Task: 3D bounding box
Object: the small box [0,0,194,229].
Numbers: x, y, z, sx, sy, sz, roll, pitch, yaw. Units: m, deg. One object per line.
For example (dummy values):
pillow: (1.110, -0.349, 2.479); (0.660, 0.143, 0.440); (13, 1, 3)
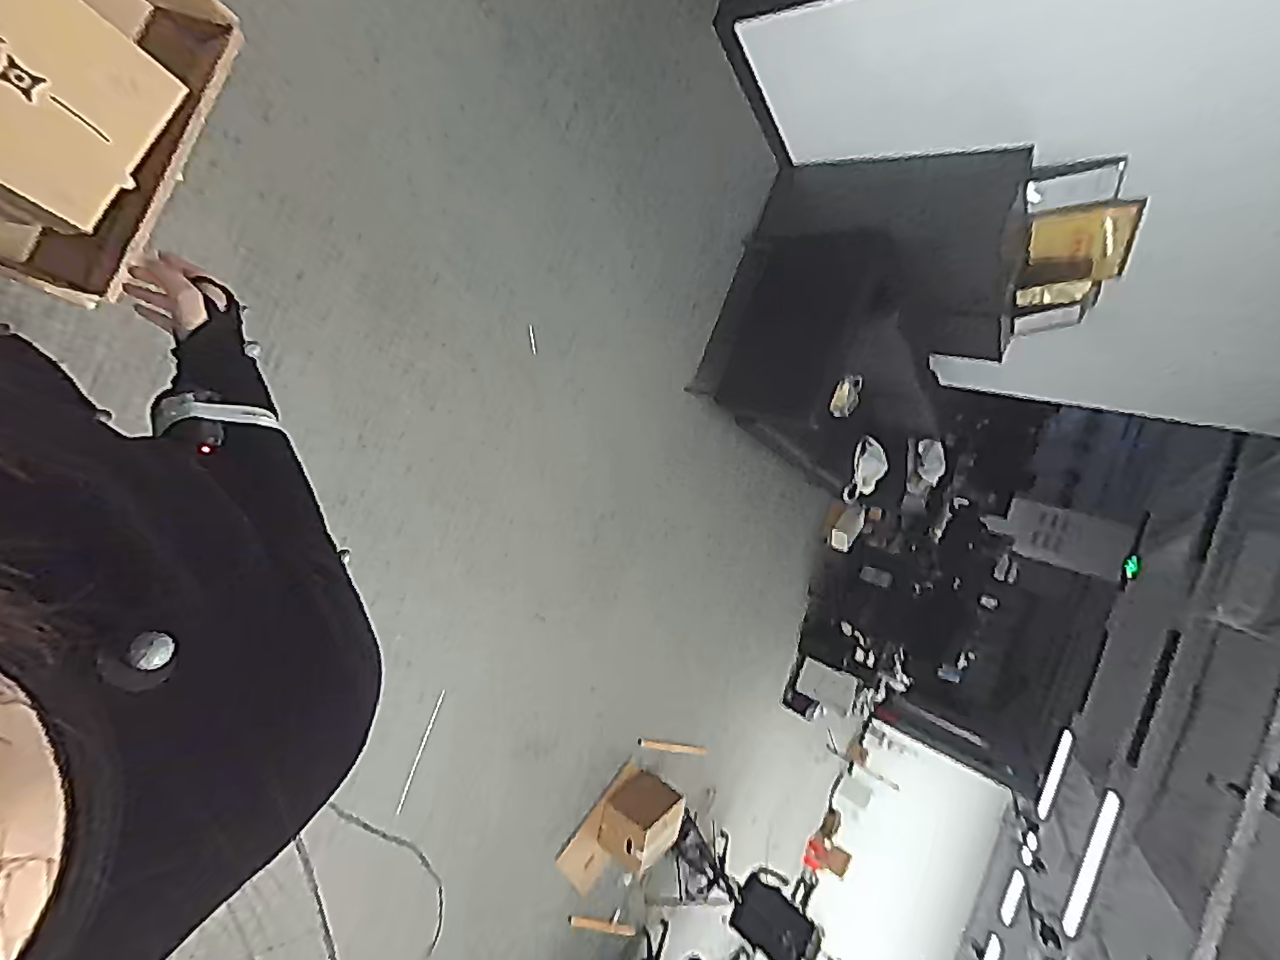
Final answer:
small box: (-0.553, -0.341, 0.471); (0.179, 0.176, 0.168); (37, 76, -53)
